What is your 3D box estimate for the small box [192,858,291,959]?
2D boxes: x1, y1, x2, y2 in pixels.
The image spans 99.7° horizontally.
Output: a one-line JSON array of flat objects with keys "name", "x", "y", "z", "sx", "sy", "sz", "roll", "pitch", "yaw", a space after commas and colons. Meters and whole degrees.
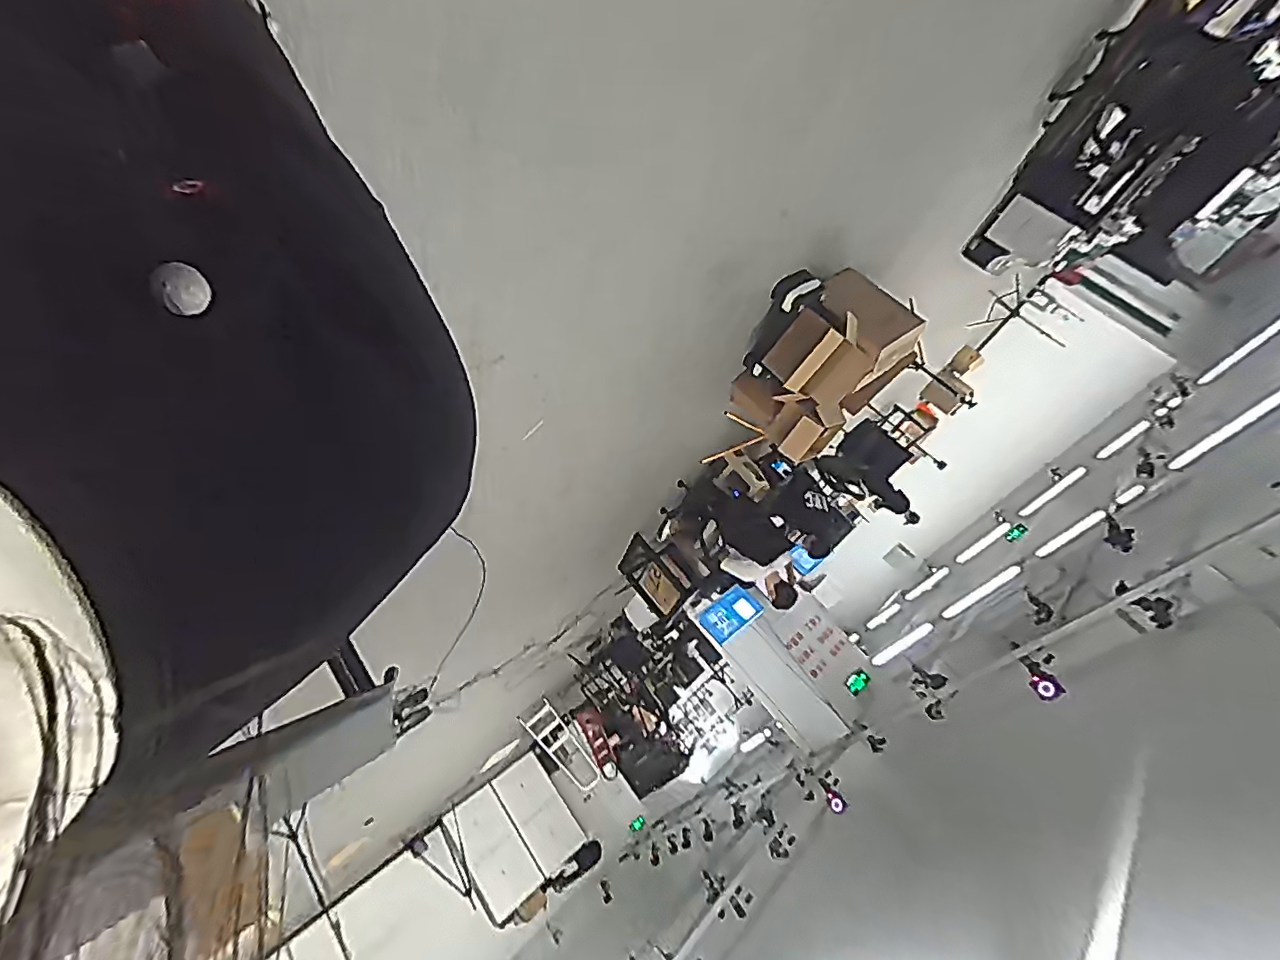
[{"name": "small box", "x": -1.121, "y": 1.210, "z": 1.524, "sx": 0.168, "sy": 0.176, "sz": 0.179, "roll": -27, "pitch": 154, "yaw": -37}]

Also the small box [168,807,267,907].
[{"name": "small box", "x": -1.228, "y": 1.096, "z": 1.571, "sx": 0.179, "sy": 0.176, "sz": 0.168, "roll": -27, "pitch": 154, "yaw": -33}]
